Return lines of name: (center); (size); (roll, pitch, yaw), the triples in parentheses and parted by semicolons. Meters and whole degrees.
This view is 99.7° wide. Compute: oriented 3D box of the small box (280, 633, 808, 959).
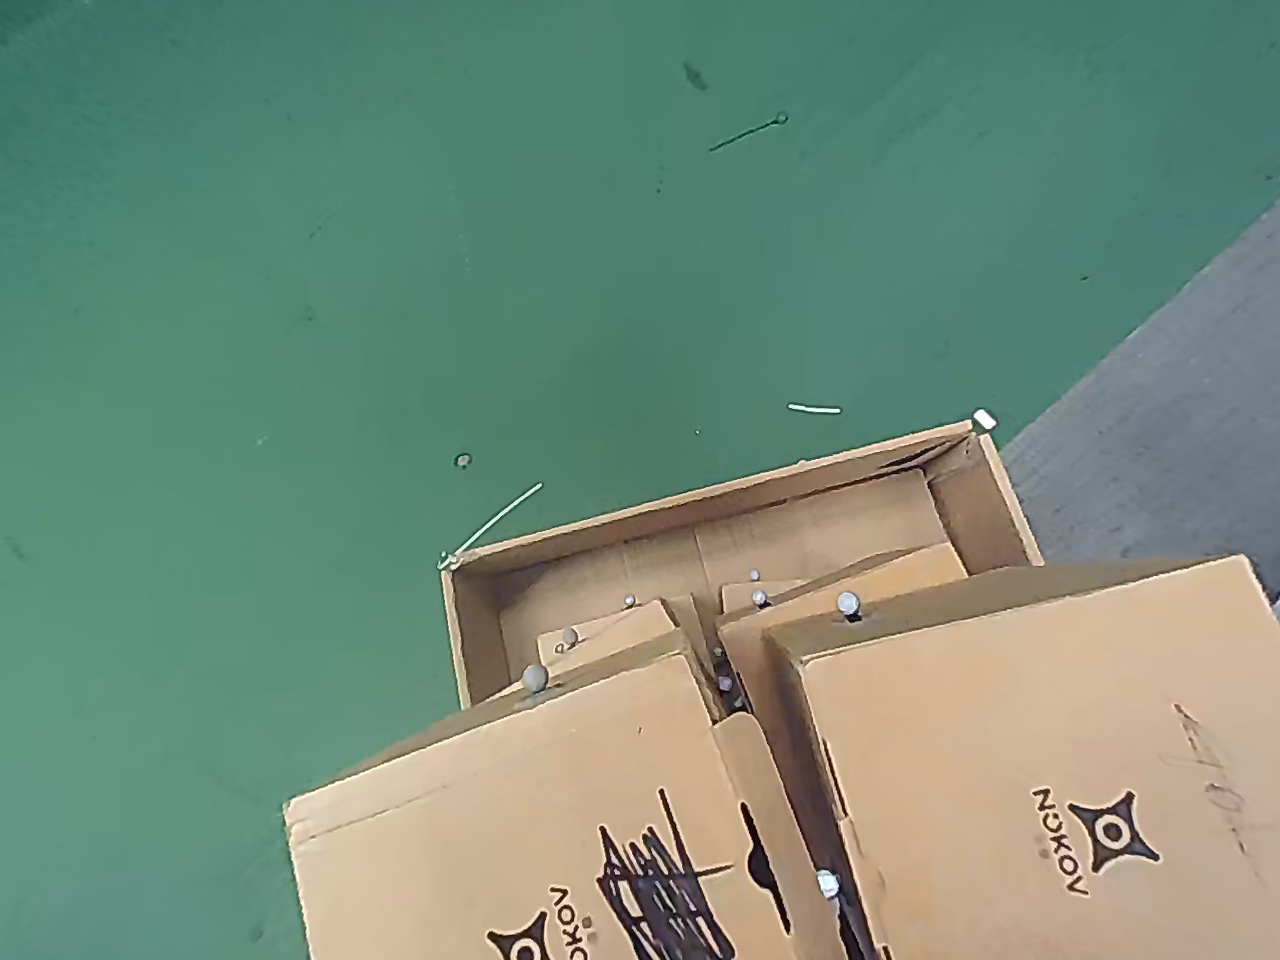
small box: (-0.030, 0.185, 0.275); (0.179, 0.176, 0.168); (-21, 75, 0)

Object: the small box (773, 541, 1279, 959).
small box: (0.174, 0.139, 0.270); (0.179, 0.176, 0.168); (-16, 76, 3)
